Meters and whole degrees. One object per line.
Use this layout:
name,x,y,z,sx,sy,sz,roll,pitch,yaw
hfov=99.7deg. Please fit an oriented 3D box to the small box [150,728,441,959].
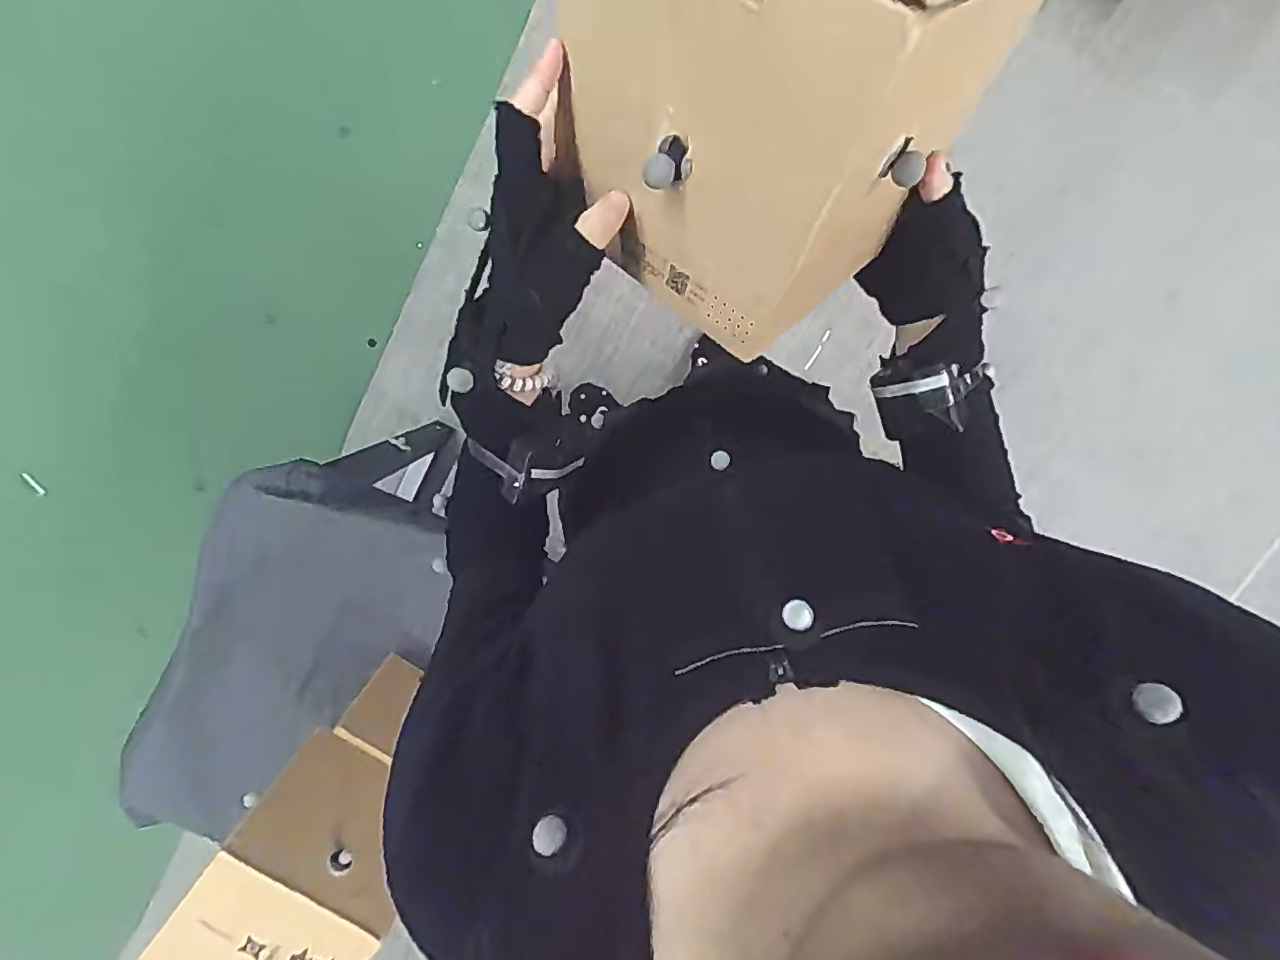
small box,-0.353,0.416,0.594,0.179,0.176,0.168,38,99,-8
